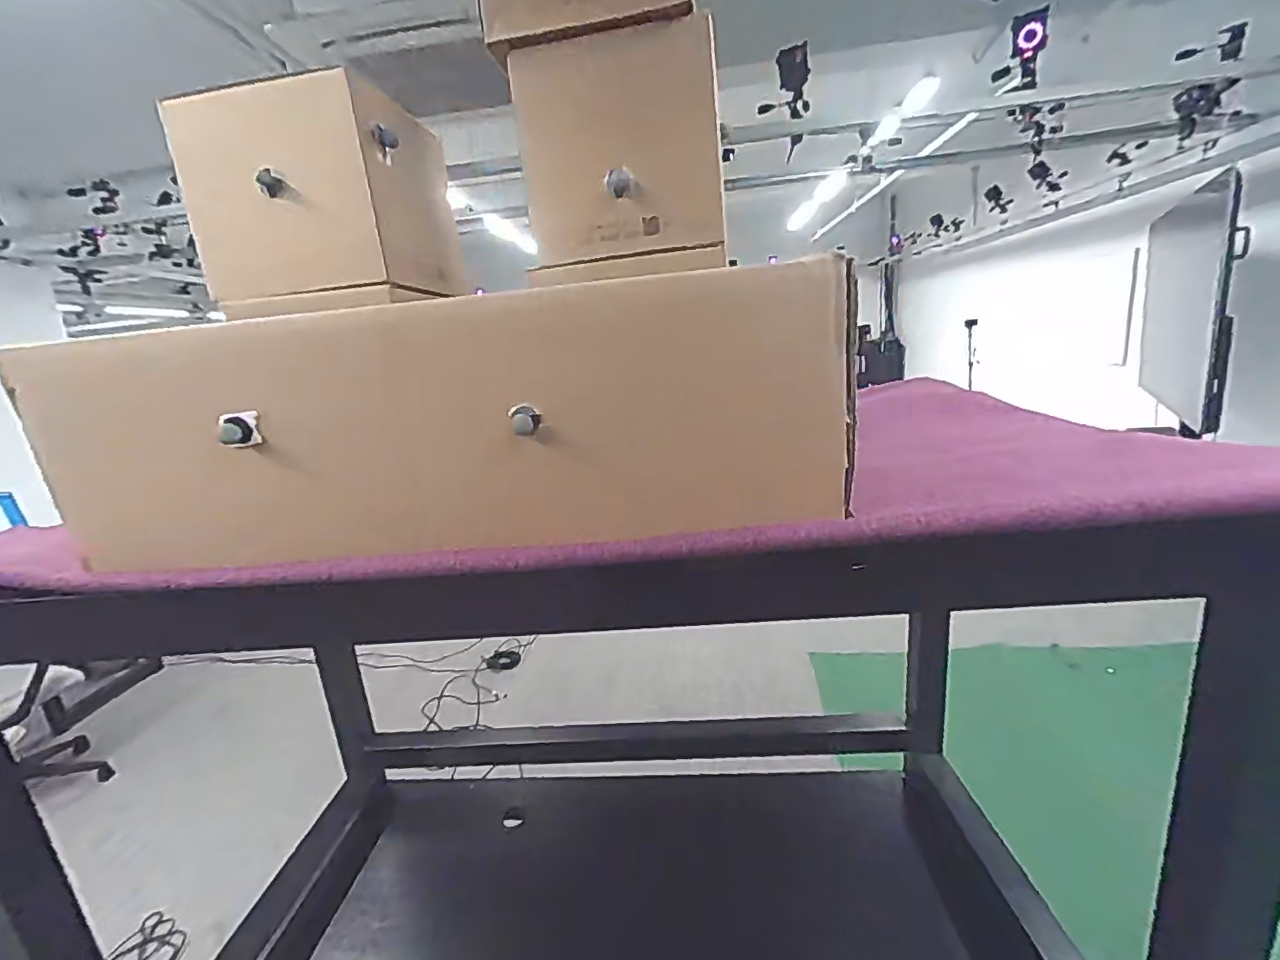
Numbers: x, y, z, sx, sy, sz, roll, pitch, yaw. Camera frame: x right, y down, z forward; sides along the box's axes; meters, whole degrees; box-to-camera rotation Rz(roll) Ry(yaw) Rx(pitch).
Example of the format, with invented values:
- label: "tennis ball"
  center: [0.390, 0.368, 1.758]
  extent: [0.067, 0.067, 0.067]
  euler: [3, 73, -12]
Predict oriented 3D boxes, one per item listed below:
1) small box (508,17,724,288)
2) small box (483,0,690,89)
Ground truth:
- label: "small box"
  center: [-0.010, -0.287, 0.522]
  extent: [0.168, 0.176, 0.179]
  euler: [-5, 14, 8]
- label: "small box"
  center: [-0.041, -0.442, 0.482]
  extent: [0.168, 0.176, 0.179]
  euler: [-5, 14, 9]
